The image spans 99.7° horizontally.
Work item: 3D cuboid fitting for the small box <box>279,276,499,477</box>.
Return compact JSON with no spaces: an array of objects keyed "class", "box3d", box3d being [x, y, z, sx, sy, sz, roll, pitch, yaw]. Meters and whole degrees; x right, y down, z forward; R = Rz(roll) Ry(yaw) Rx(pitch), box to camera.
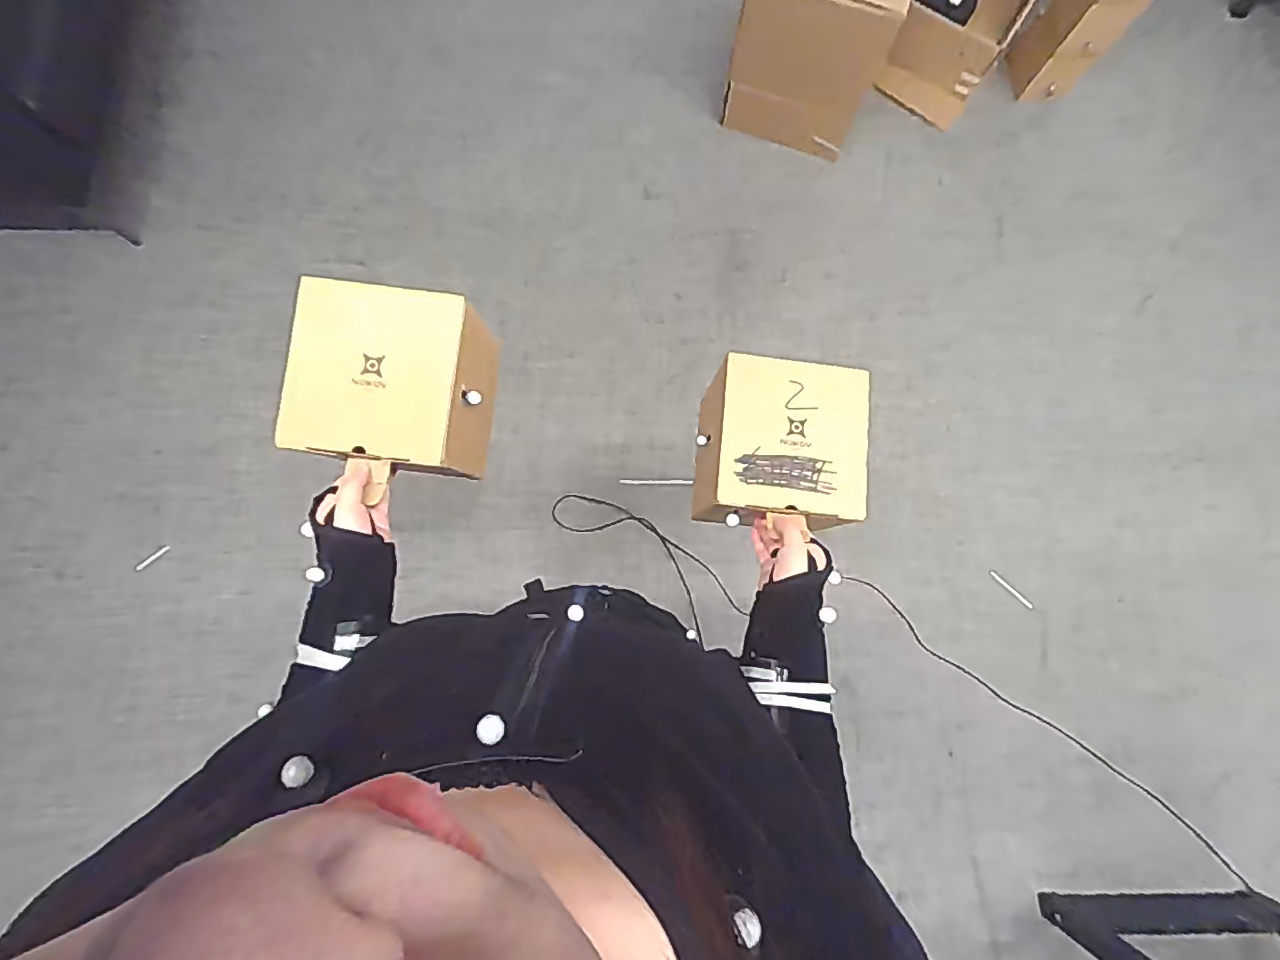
[{"class":"small box","box3d":[-0.266,-0.103,0.616,0.168,0.176,0.179,7,87,-2]}]
